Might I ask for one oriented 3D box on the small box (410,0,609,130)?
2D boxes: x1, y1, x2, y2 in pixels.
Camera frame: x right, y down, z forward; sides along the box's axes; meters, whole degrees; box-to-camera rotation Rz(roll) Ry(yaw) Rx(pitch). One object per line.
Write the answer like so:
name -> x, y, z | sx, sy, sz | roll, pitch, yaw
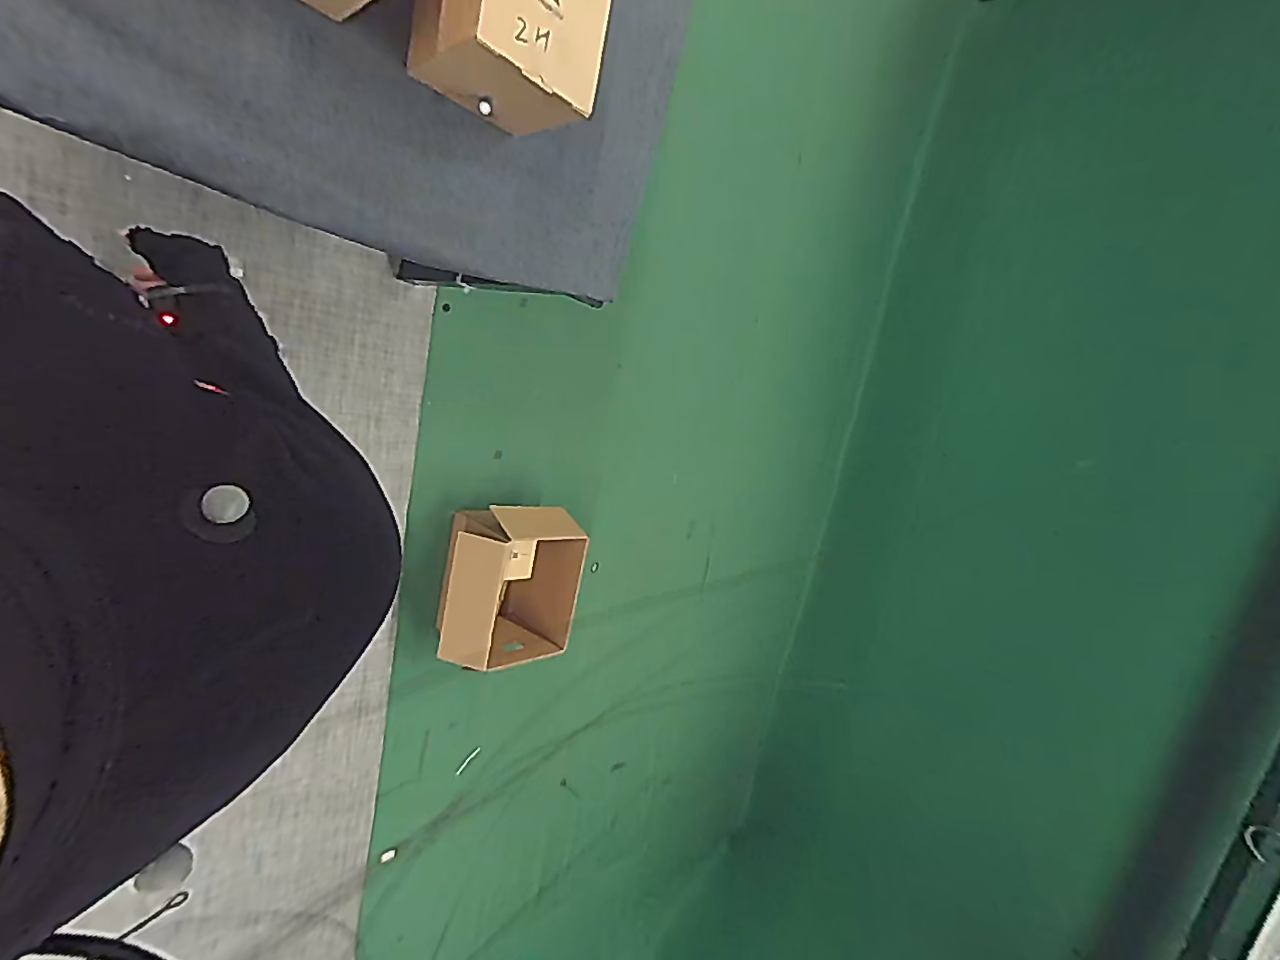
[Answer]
small box -> -0.160, -0.567, 0.661 | 0.168, 0.176, 0.179 | 1, 104, -48
